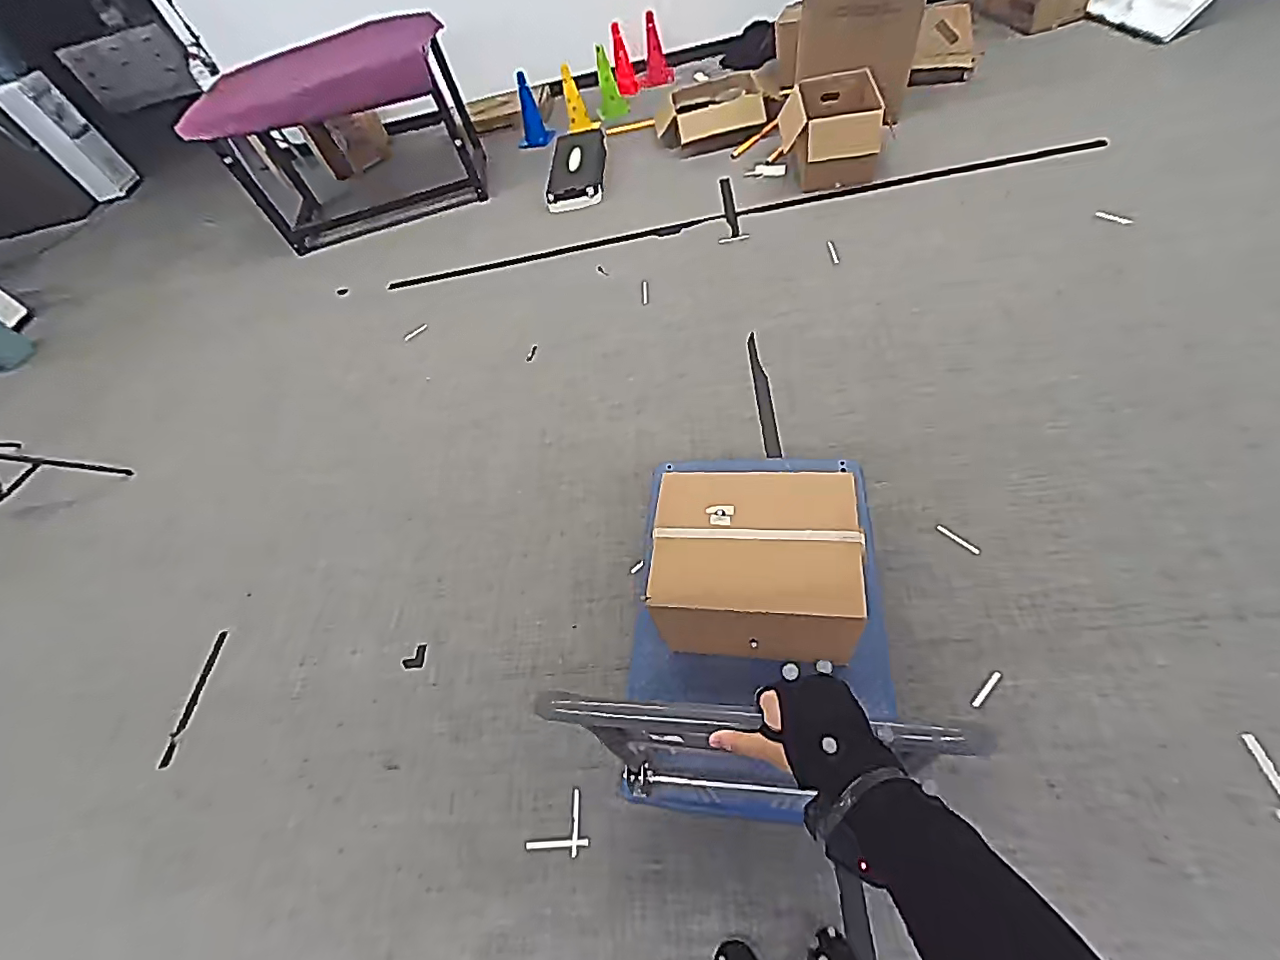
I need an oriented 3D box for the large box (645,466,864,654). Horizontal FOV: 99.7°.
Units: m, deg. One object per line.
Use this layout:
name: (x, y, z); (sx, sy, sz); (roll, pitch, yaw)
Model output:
large box: (0.252, 0.186, 1.196); (0.408, 0.320, 0.320); (-1, 55, 14)
